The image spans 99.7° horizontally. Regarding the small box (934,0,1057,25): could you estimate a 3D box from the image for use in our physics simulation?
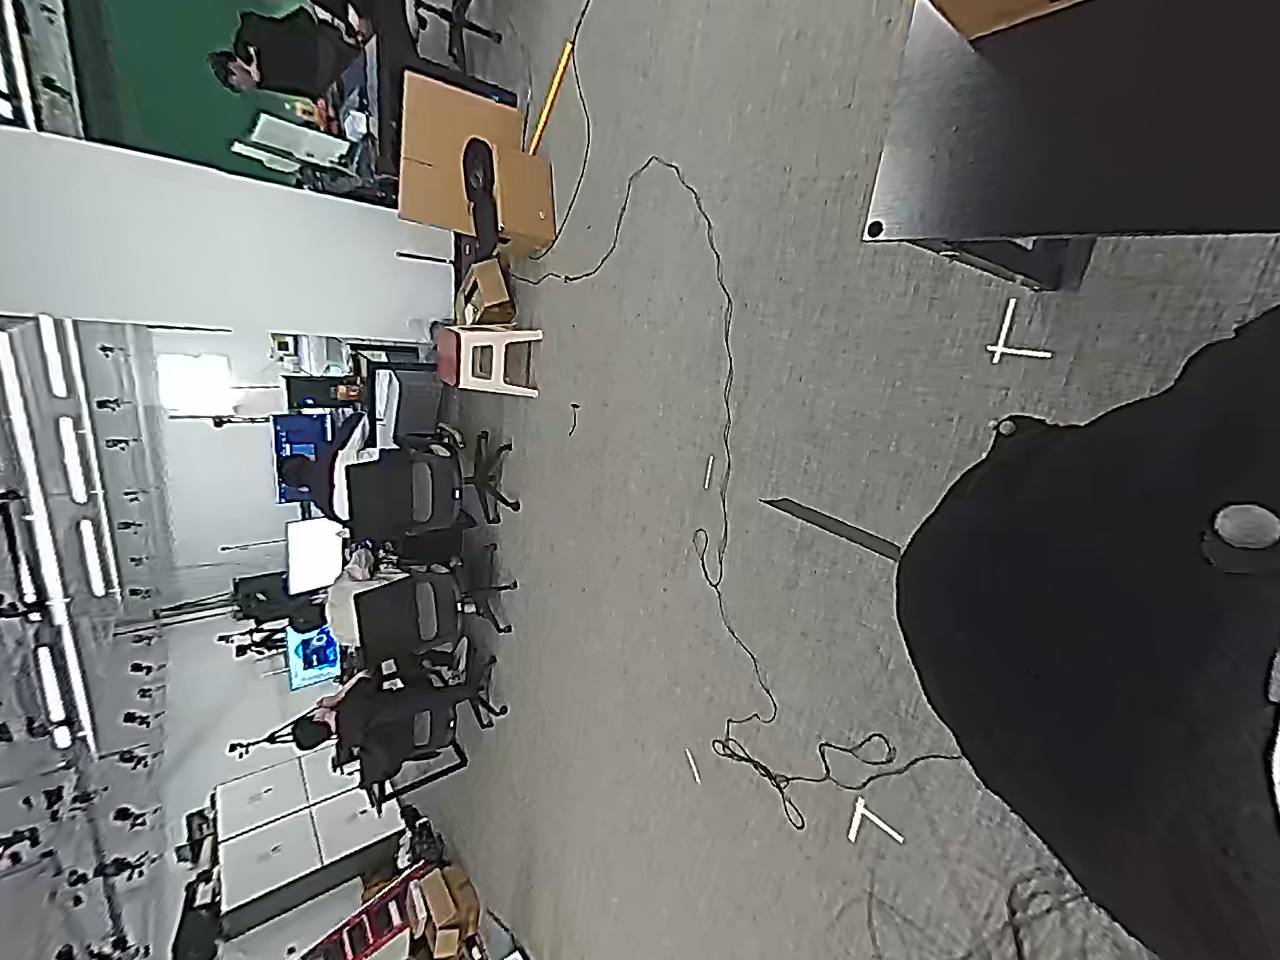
[{"bbox_3d":[0.407,-0.616,0.555,0.168,0.176,0.179,19,110,47],"label":"small box"}]
